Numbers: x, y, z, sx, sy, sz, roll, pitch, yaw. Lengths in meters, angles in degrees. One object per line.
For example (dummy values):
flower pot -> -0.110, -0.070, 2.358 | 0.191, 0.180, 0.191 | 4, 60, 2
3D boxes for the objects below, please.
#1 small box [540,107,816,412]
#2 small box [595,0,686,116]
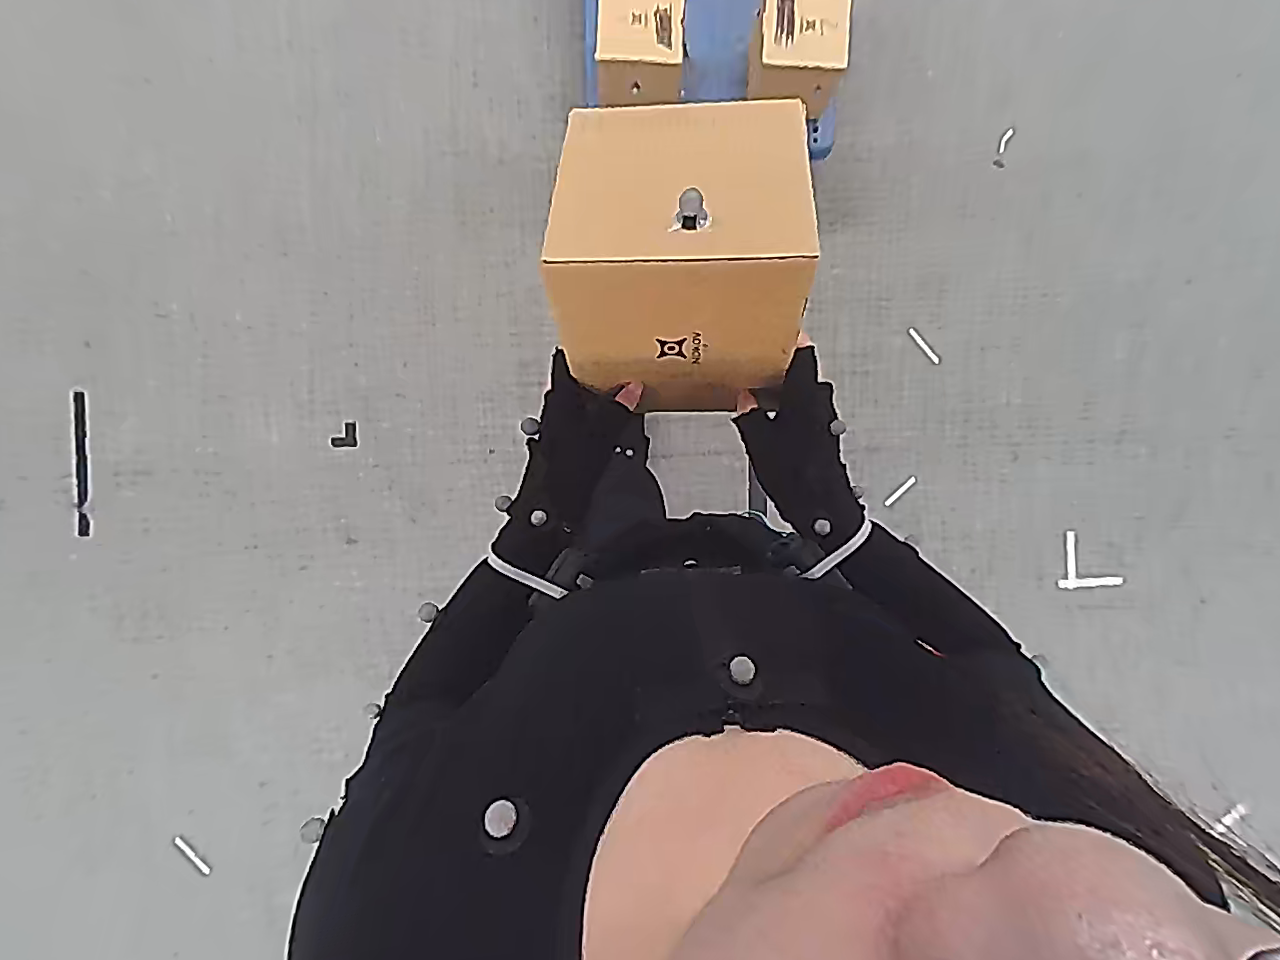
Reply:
small box -> 0.031, -0.173, 0.443 | 0.179, 0.168, 0.176 | 0, 63, 5
small box -> 0.001, -0.911, 1.165 | 0.179, 0.176, 0.168 | 3, 92, 1
